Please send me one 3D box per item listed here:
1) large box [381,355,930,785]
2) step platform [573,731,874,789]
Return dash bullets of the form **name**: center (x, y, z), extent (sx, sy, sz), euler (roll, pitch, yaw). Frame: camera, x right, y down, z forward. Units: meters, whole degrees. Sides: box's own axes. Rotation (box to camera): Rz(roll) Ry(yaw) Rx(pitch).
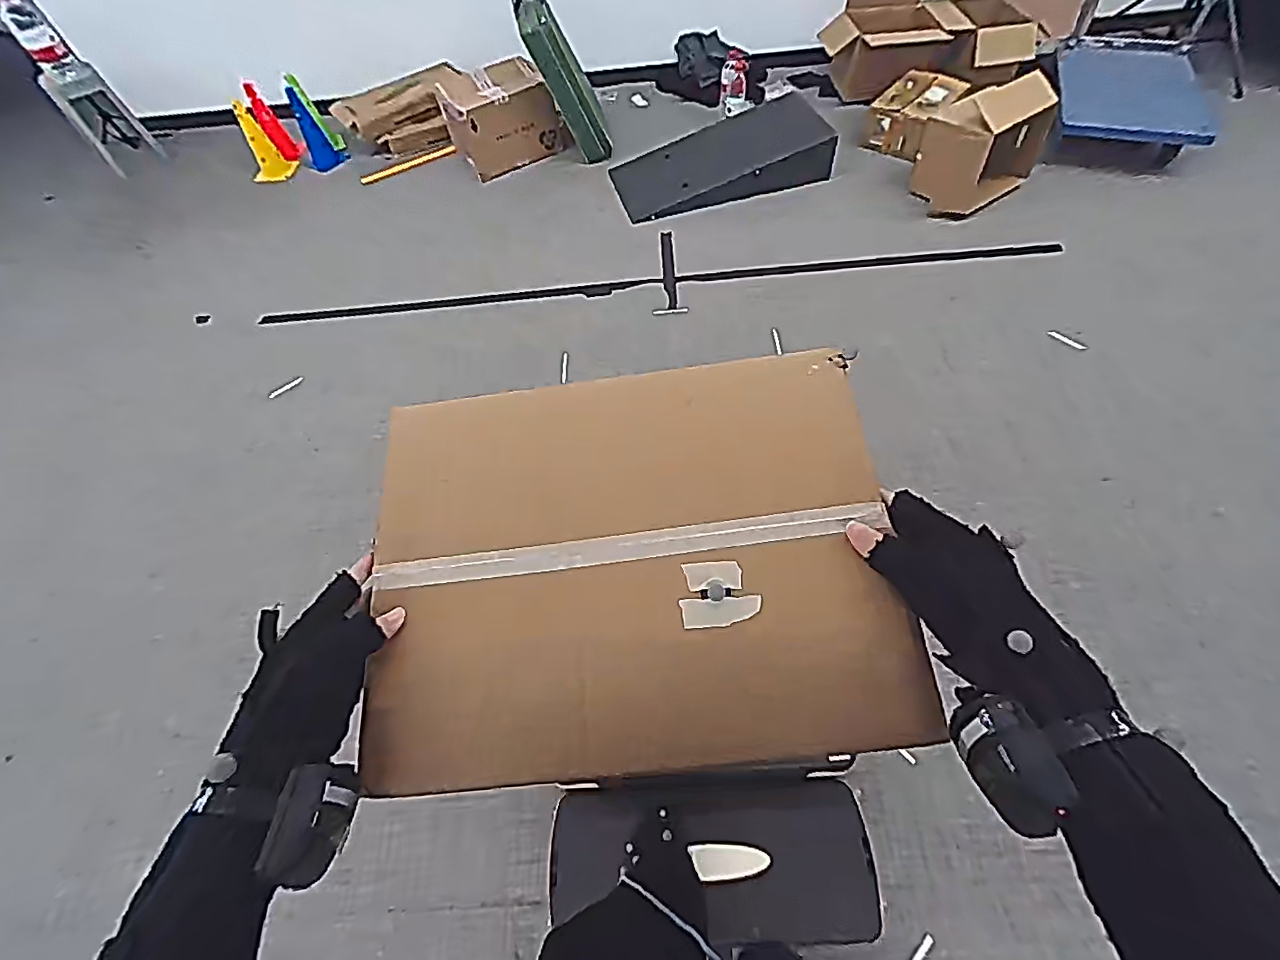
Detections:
- **large box**: center (0.004, 0.110, 0.575), extent (0.408, 0.320, 0.320), euler (-7, 68, 3)
- **step platform**: center (0.174, 0.542, 1.268), extent (0.684, 0.204, 0.286), euler (-4, 57, 2)
